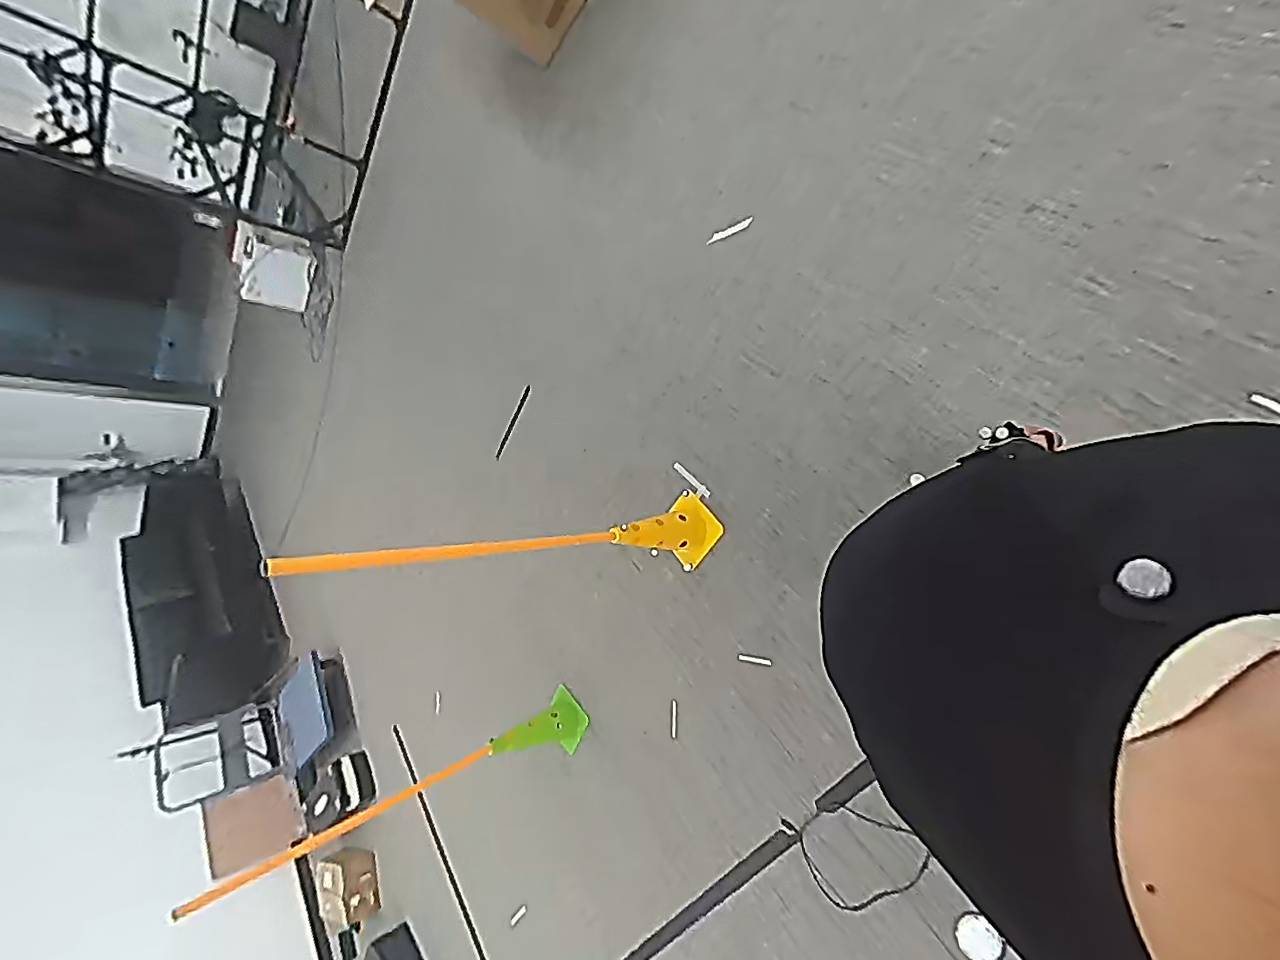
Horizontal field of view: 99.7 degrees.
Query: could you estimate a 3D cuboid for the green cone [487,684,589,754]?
[{"bbox_3d":[-0.398,0.929,1.995,0.200,0.368,0.202,37,111,36],"label":"green cone"}]
